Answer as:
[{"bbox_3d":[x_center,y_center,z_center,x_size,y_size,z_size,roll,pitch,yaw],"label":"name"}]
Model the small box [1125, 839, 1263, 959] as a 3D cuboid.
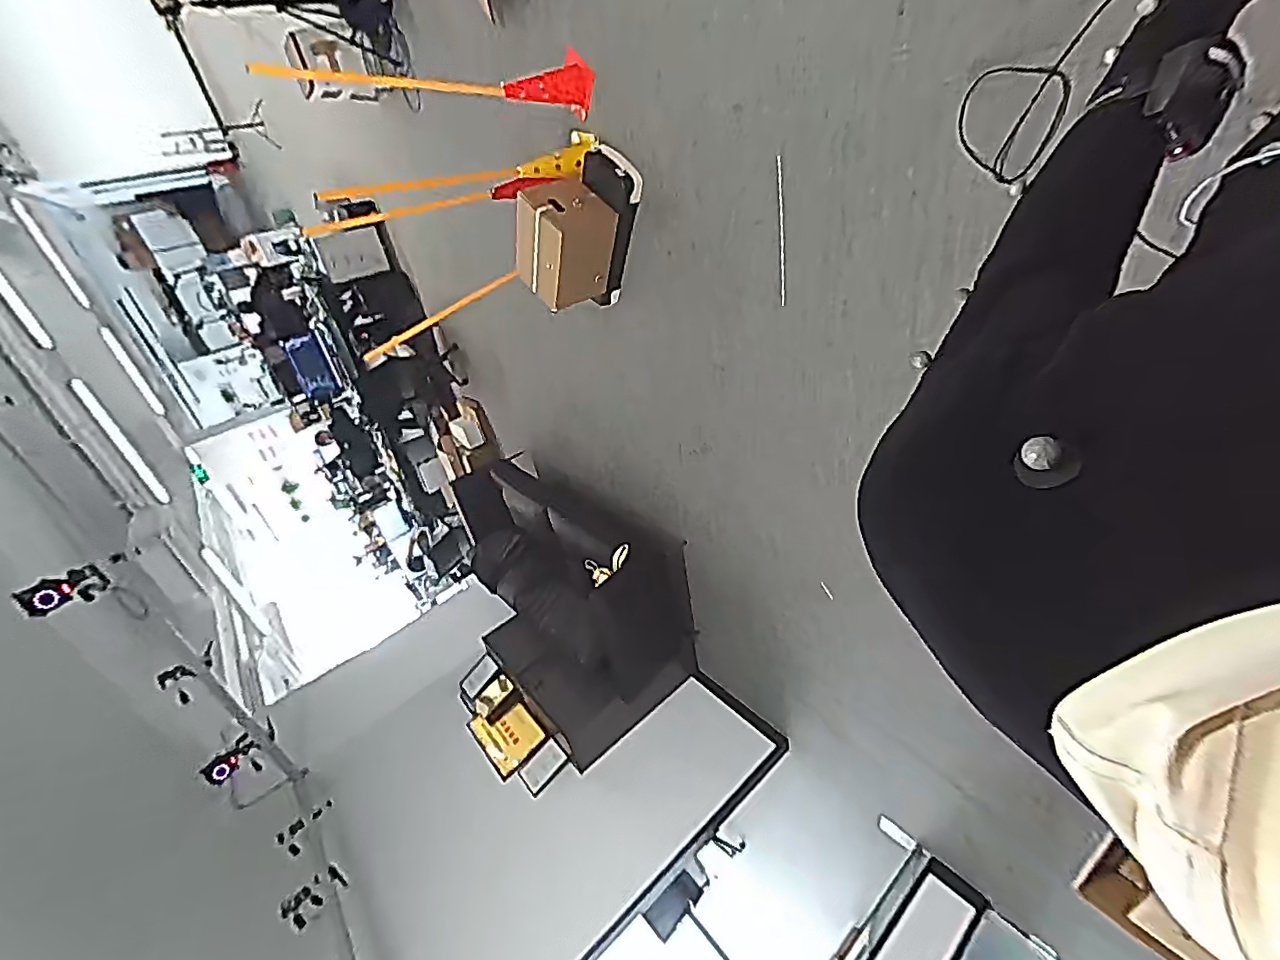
[{"bbox_3d":[1.288,0.996,1.258,0.168,0.176,0.179,30,139,43],"label":"small box"}]
